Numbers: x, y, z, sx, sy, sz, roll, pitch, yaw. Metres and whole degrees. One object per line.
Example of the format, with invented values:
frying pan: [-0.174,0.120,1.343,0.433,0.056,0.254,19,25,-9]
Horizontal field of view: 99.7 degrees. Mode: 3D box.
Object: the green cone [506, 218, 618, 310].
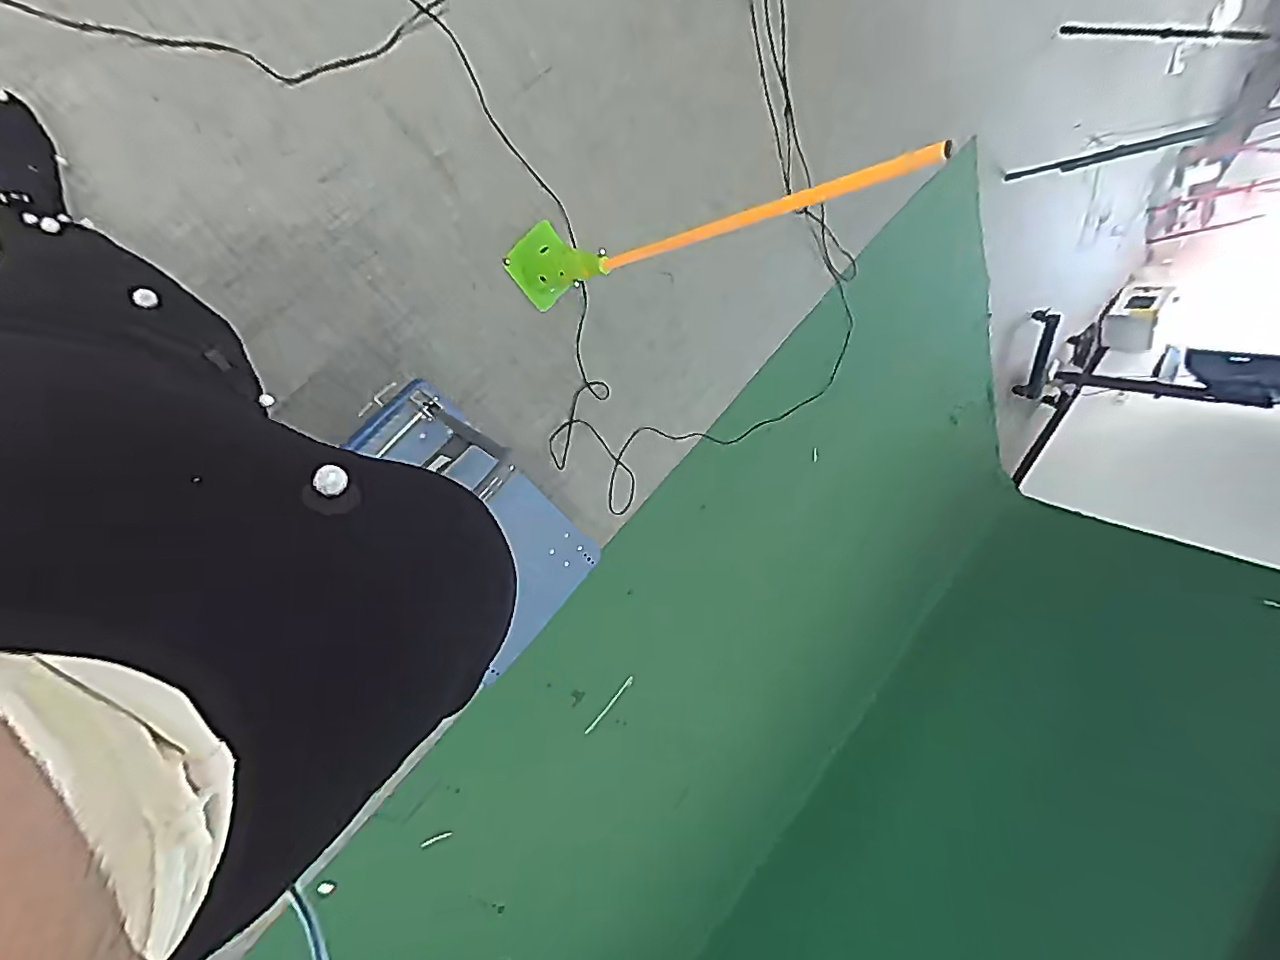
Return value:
green cone: [-0.183,-0.603,1.512,0.202,0.368,0.200,-52,131,-11]
